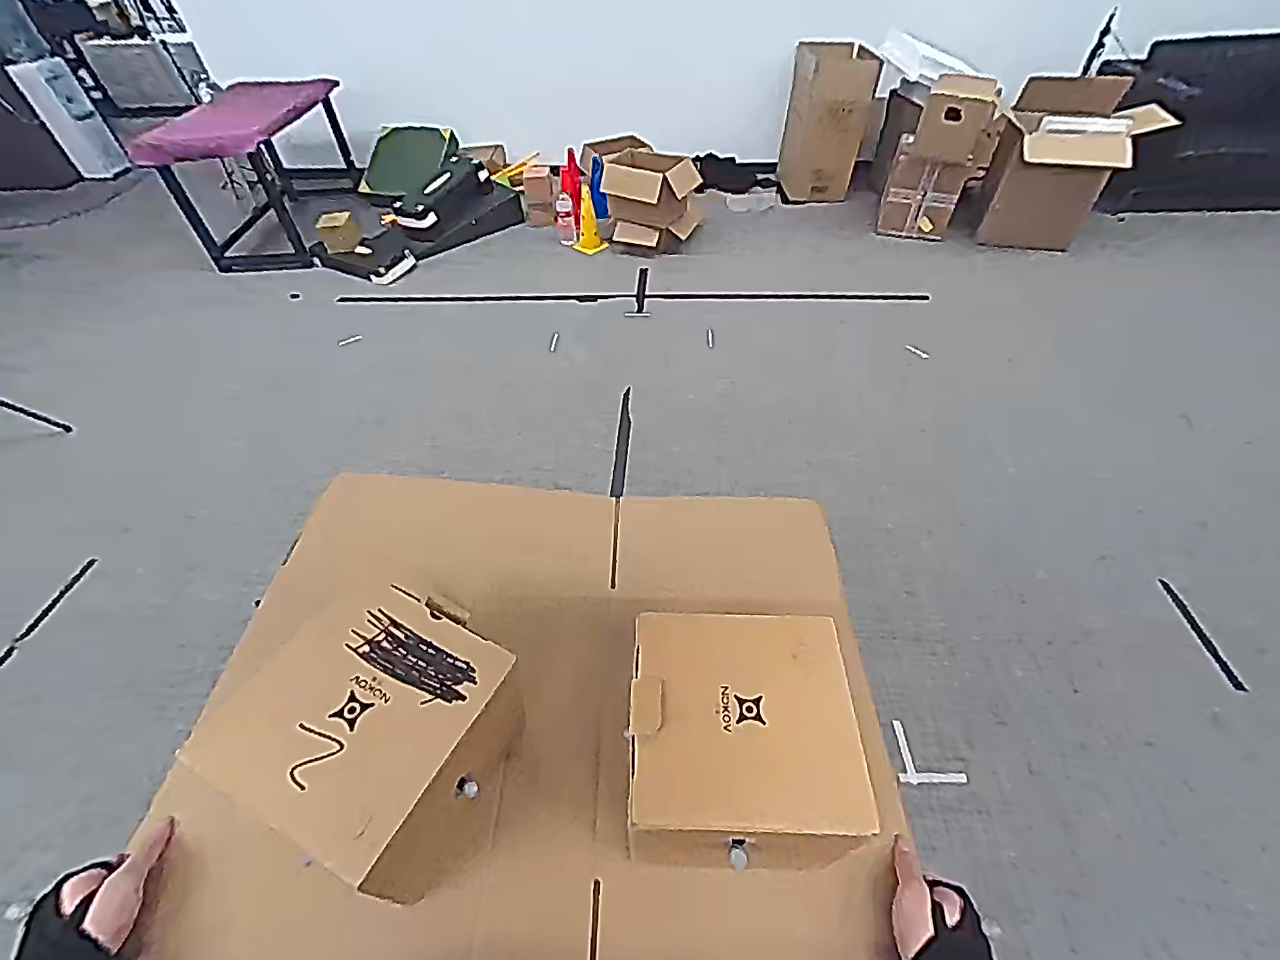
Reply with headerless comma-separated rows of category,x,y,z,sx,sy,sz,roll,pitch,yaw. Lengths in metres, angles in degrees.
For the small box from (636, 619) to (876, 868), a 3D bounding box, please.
small box,0.087,0.245,0.500,0.179,0.176,0.168,0,47,2
